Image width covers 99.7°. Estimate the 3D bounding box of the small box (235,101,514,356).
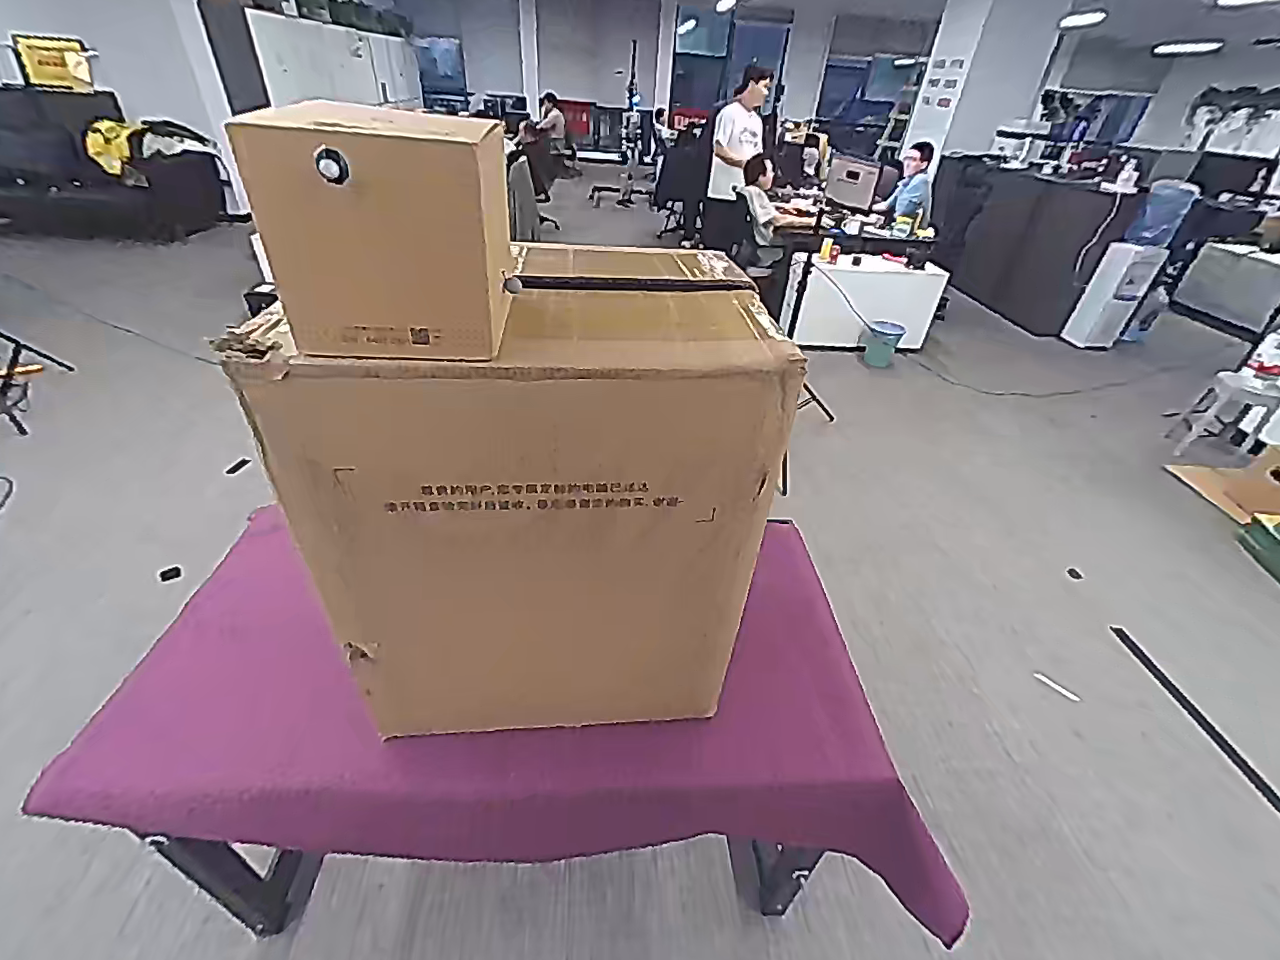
[{"bbox_3d":[-0.205,-0.224,0.481,0.168,0.176,0.179,0,36,-7],"label":"small box"}]
